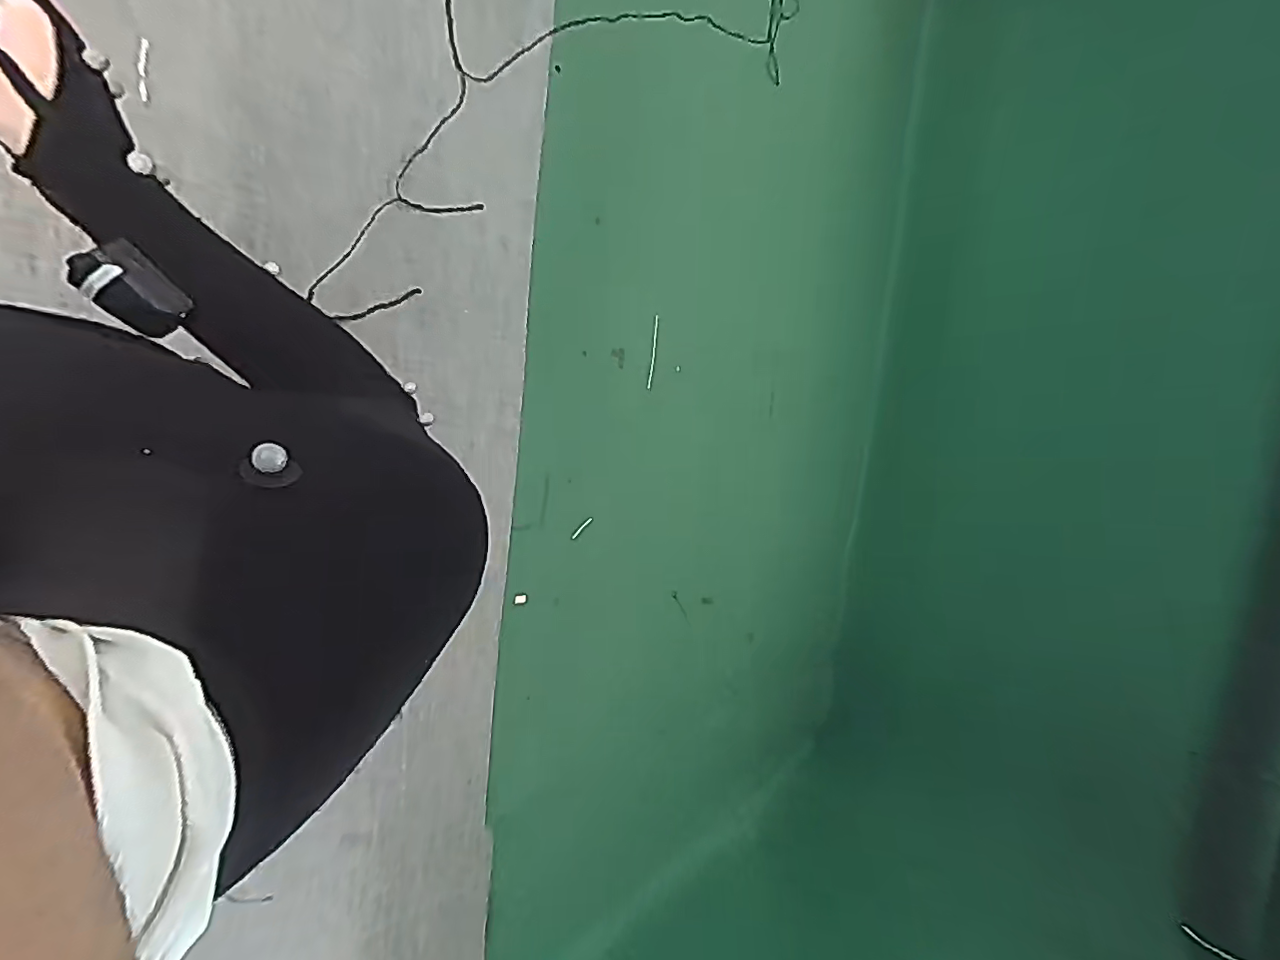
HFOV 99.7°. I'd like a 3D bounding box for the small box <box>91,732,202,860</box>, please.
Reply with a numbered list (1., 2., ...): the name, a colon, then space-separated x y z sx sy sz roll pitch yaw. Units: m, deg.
1. small box: -1.142 0.715 1.251 0.179 0.176 0.168 3 96 -45
